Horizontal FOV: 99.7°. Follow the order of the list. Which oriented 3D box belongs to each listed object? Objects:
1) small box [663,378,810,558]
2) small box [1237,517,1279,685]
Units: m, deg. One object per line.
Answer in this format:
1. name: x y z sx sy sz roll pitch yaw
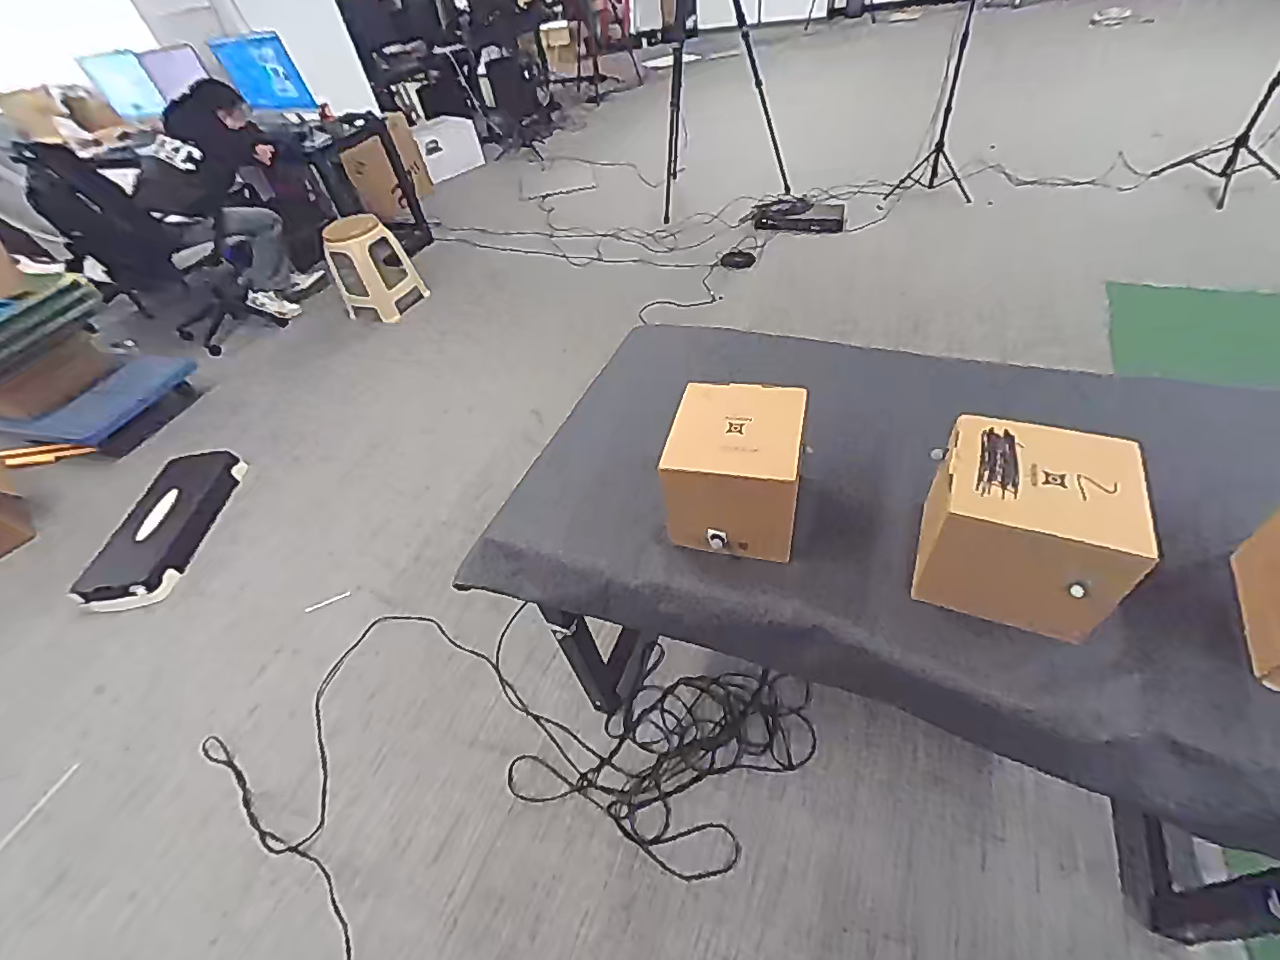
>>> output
1. small box: 0.138 -0.019 0.748 0.168 0.176 0.179 6 49 17
2. small box: 0.731 0.111 0.512 0.168 0.176 0.179 16 52 24
